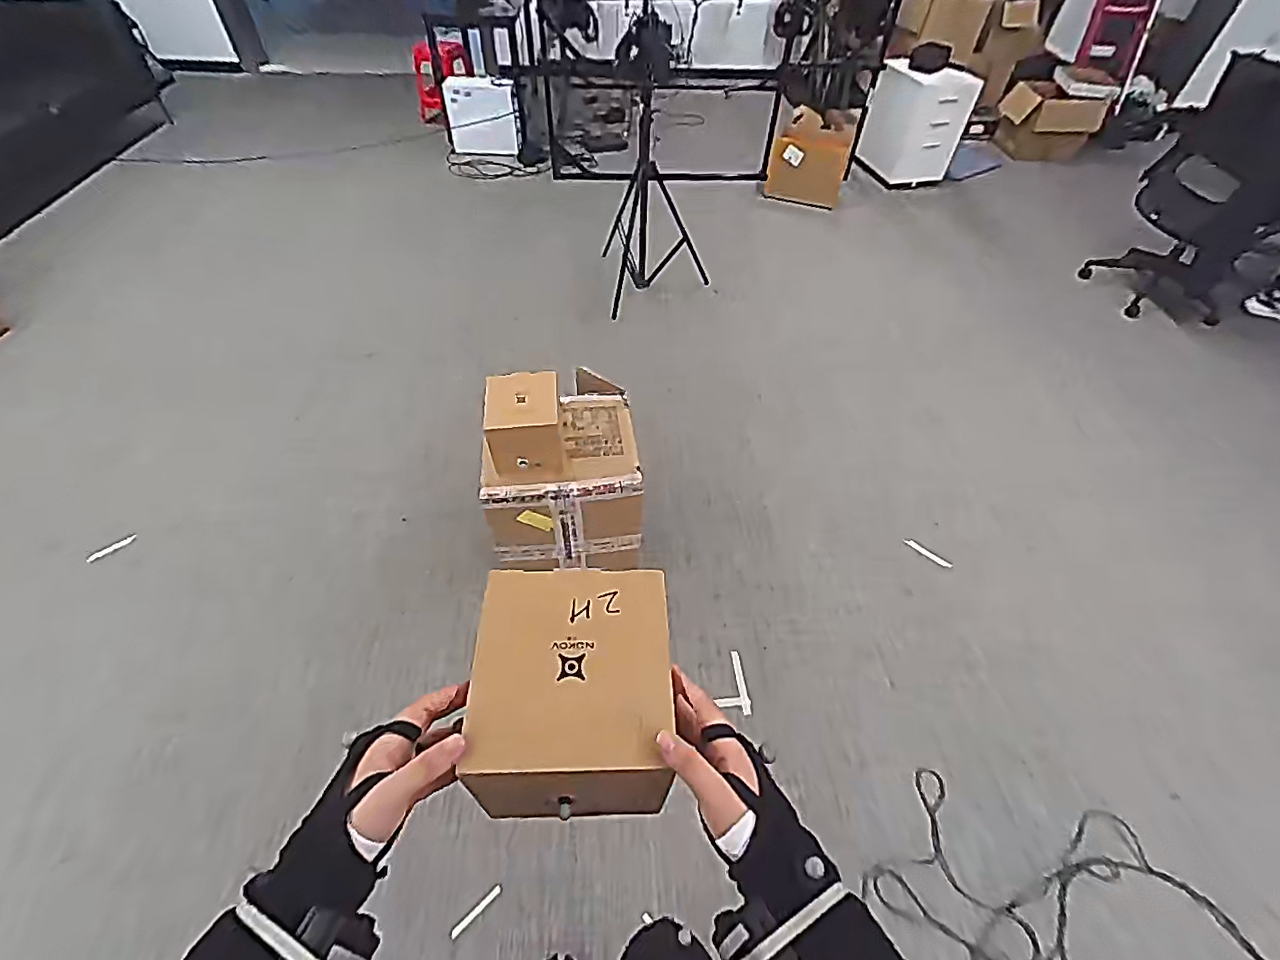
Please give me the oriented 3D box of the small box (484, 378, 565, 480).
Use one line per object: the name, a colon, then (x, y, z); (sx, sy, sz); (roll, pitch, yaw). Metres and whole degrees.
small box: (-0.273, -0.122, 1.305); (0.168, 0.176, 0.179); (-6, 54, -5)
